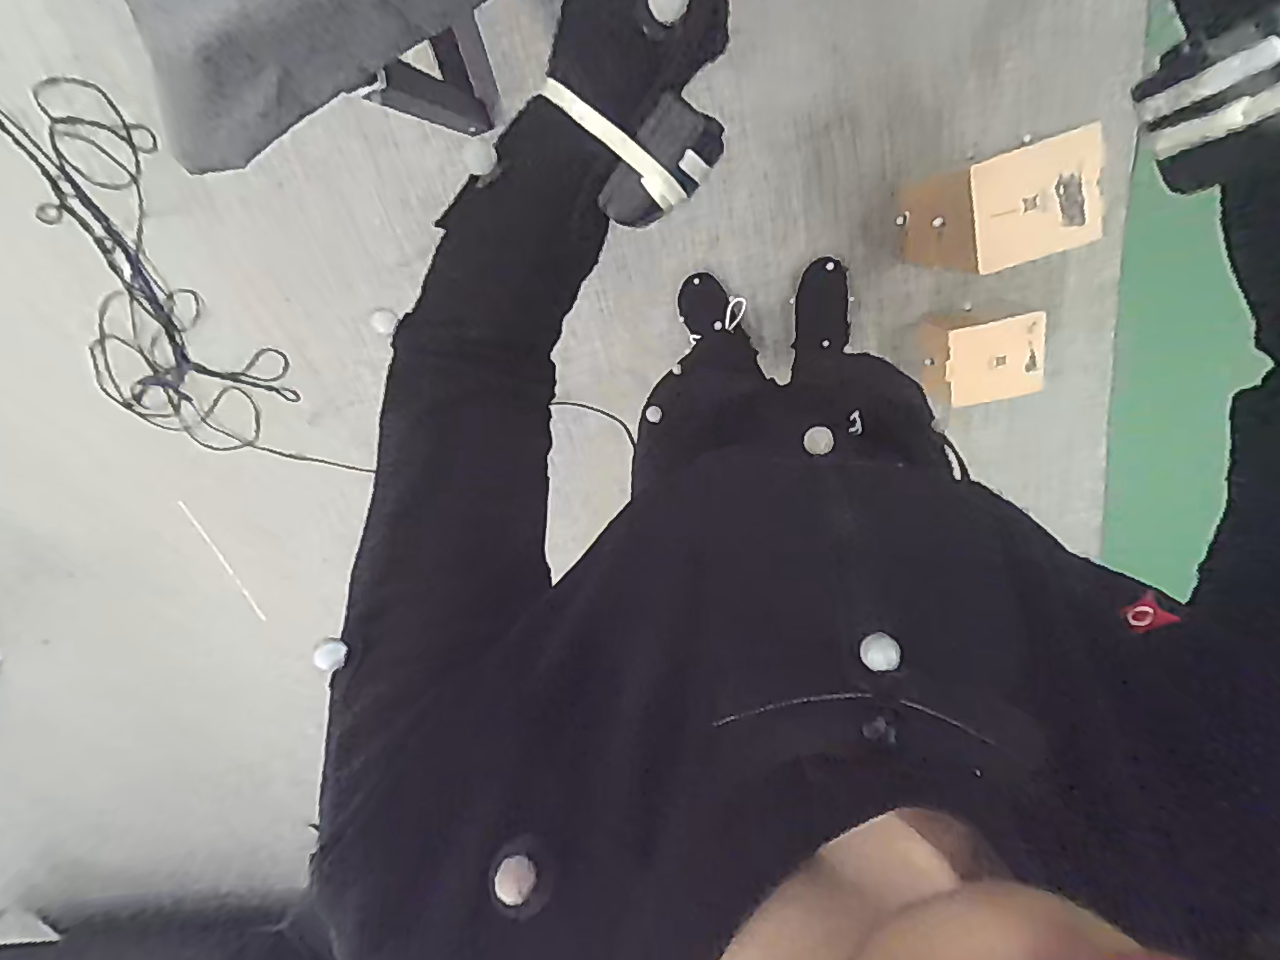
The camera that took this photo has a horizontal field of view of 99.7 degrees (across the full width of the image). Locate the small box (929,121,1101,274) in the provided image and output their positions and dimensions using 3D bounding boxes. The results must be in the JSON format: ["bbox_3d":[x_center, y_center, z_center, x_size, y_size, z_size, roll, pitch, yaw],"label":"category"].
[{"bbox_3d":[0.601,-0.452,0.882,0.179,0.176,0.168,-15,112,14],"label":"small box"}]

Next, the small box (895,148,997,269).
[{"bbox_3d":[0.613,-0.518,1.032,0.179,0.176,0.168,-15,112,14],"label":"small box"}]

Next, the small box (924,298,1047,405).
[{"bbox_3d":[0.712,-0.272,1.137,0.179,0.176,0.168,-10,115,13],"label":"small box"}]
